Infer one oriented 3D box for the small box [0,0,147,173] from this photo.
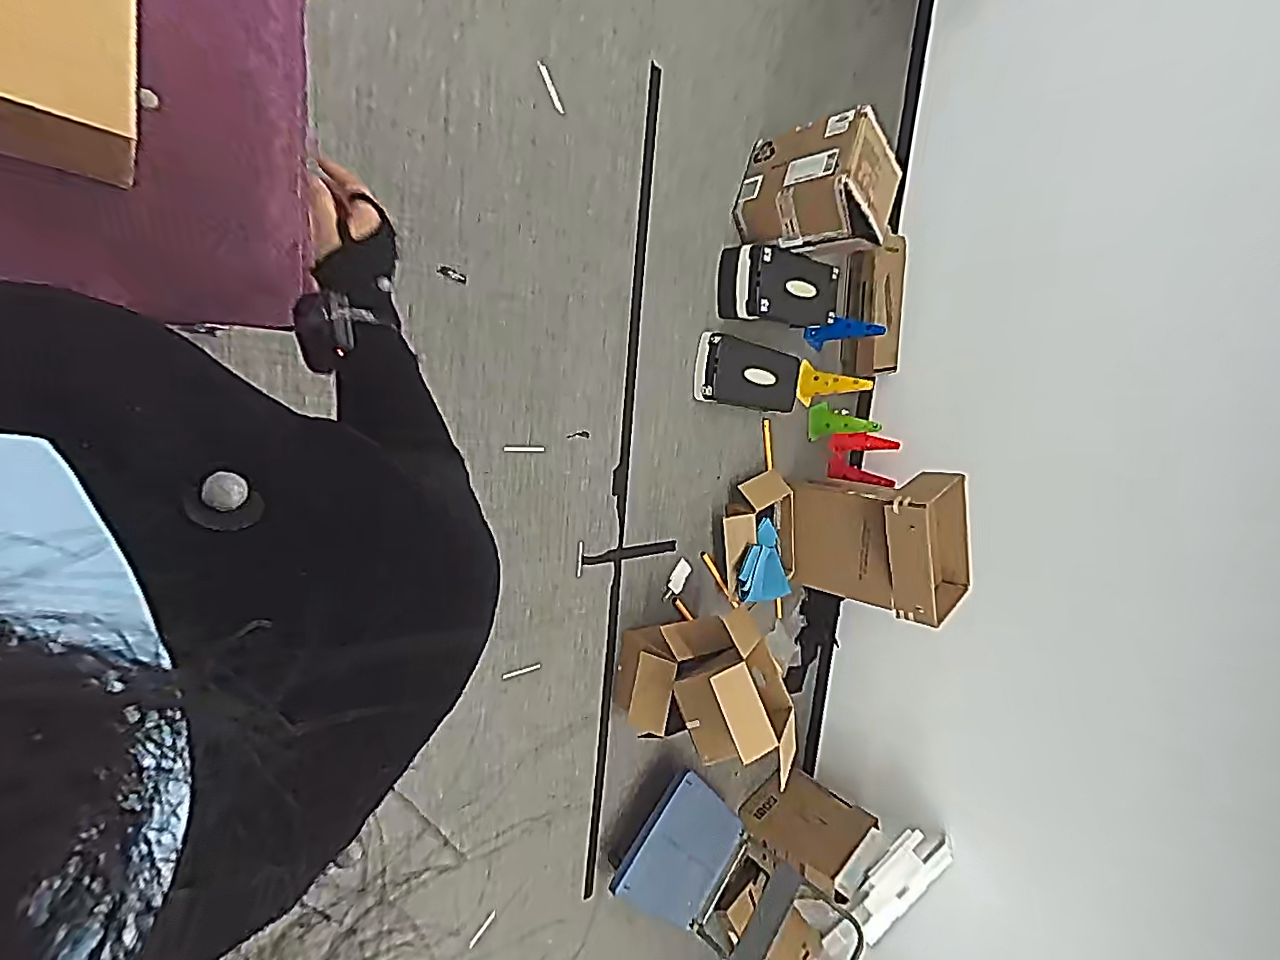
[{"bbox_3d":[-0.510,-0.368,0.424,0.179,0.176,0.168,1,98,-44],"label":"small box"}]
